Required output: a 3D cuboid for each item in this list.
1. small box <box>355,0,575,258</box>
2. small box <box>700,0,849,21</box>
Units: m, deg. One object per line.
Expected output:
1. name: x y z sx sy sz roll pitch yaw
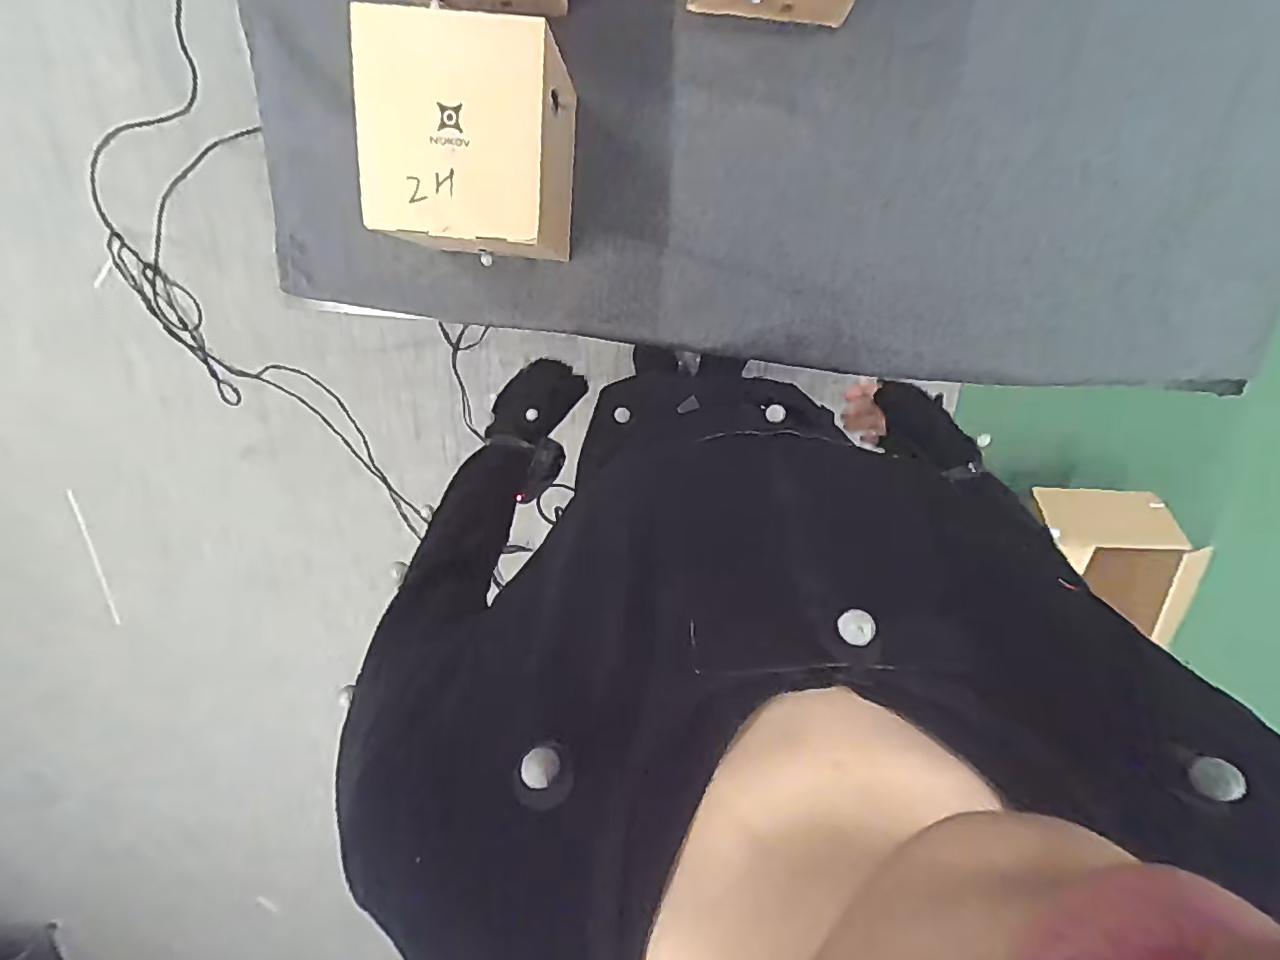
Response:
1. small box: -0.161 -0.333 0.549 0.168 0.176 0.179 5 108 1
2. small box: 0.136 -0.547 0.465 0.168 0.176 0.179 6 110 1
